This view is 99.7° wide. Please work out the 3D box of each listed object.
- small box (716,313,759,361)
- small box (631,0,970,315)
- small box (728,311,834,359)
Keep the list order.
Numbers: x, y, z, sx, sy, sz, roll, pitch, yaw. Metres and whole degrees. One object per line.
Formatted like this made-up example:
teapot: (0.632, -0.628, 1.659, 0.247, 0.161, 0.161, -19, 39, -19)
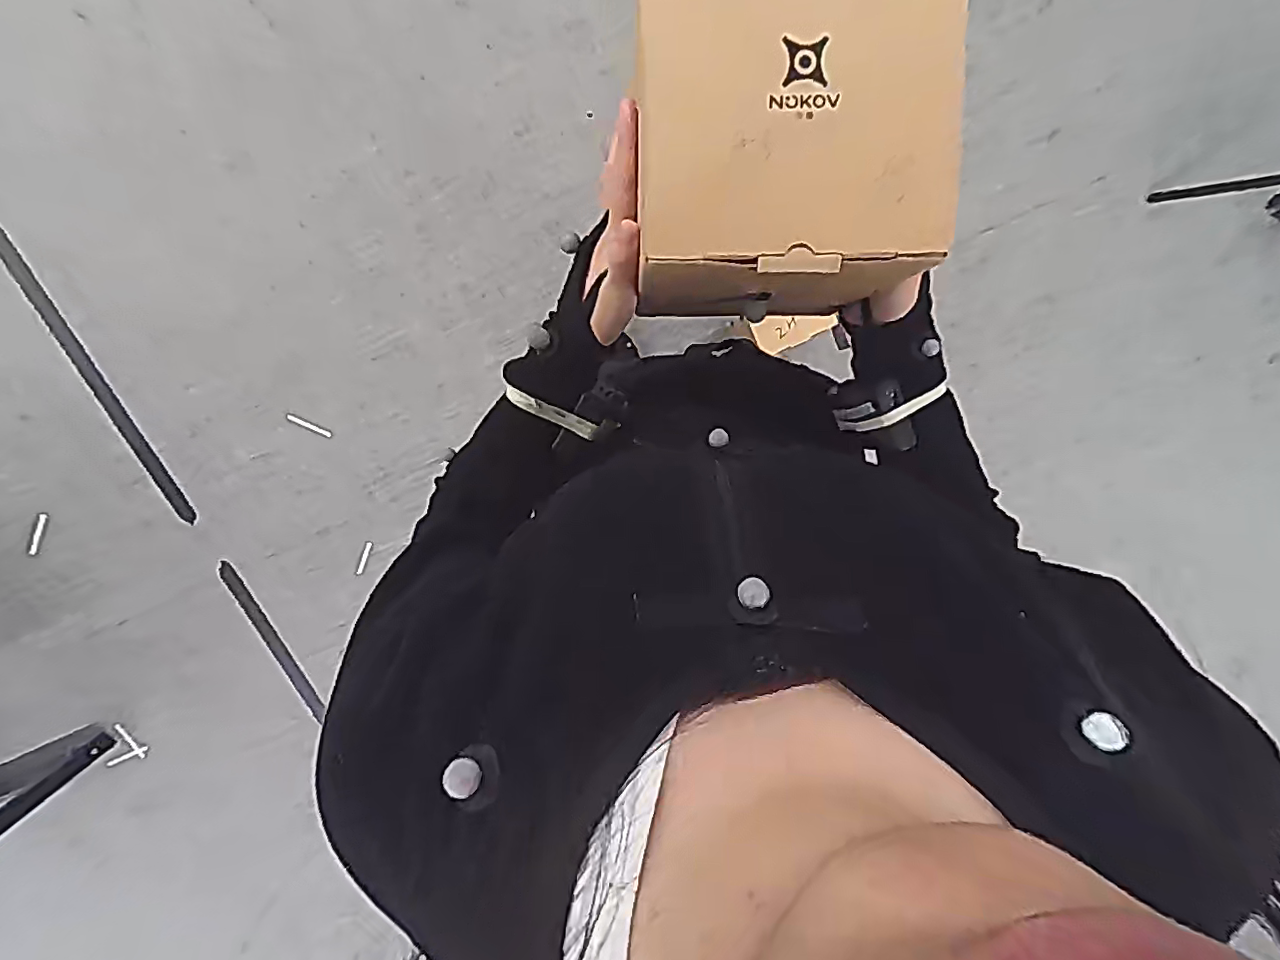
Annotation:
small box: (0.289, -0.412, 1.323, 0.168, 0.176, 0.179, -28, 103, 6)
small box: (0.080, -0.207, 0.354, 0.168, 0.176, 0.179, -1, 98, -2)
small box: (0.286, -0.374, 1.163, 0.168, 0.176, 0.179, -25, 104, 6)
